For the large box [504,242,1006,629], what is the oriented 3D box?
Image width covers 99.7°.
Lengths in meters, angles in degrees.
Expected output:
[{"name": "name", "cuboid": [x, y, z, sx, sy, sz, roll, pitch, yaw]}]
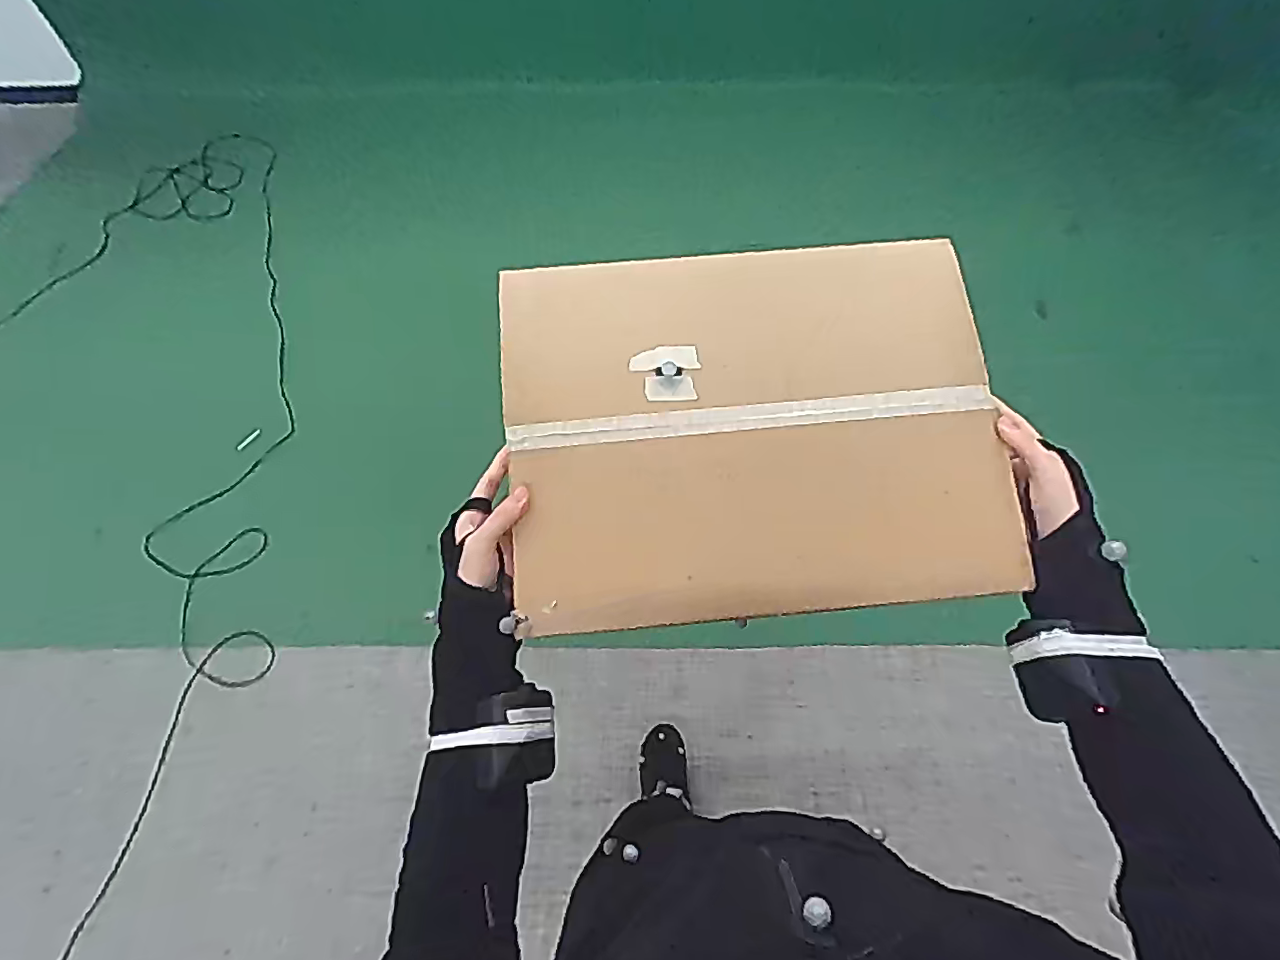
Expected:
[{"name": "large box", "cuboid": [0.091, -0.022, 0.611, 0.408, 0.320, 0.320, -5, 78, -1]}]
